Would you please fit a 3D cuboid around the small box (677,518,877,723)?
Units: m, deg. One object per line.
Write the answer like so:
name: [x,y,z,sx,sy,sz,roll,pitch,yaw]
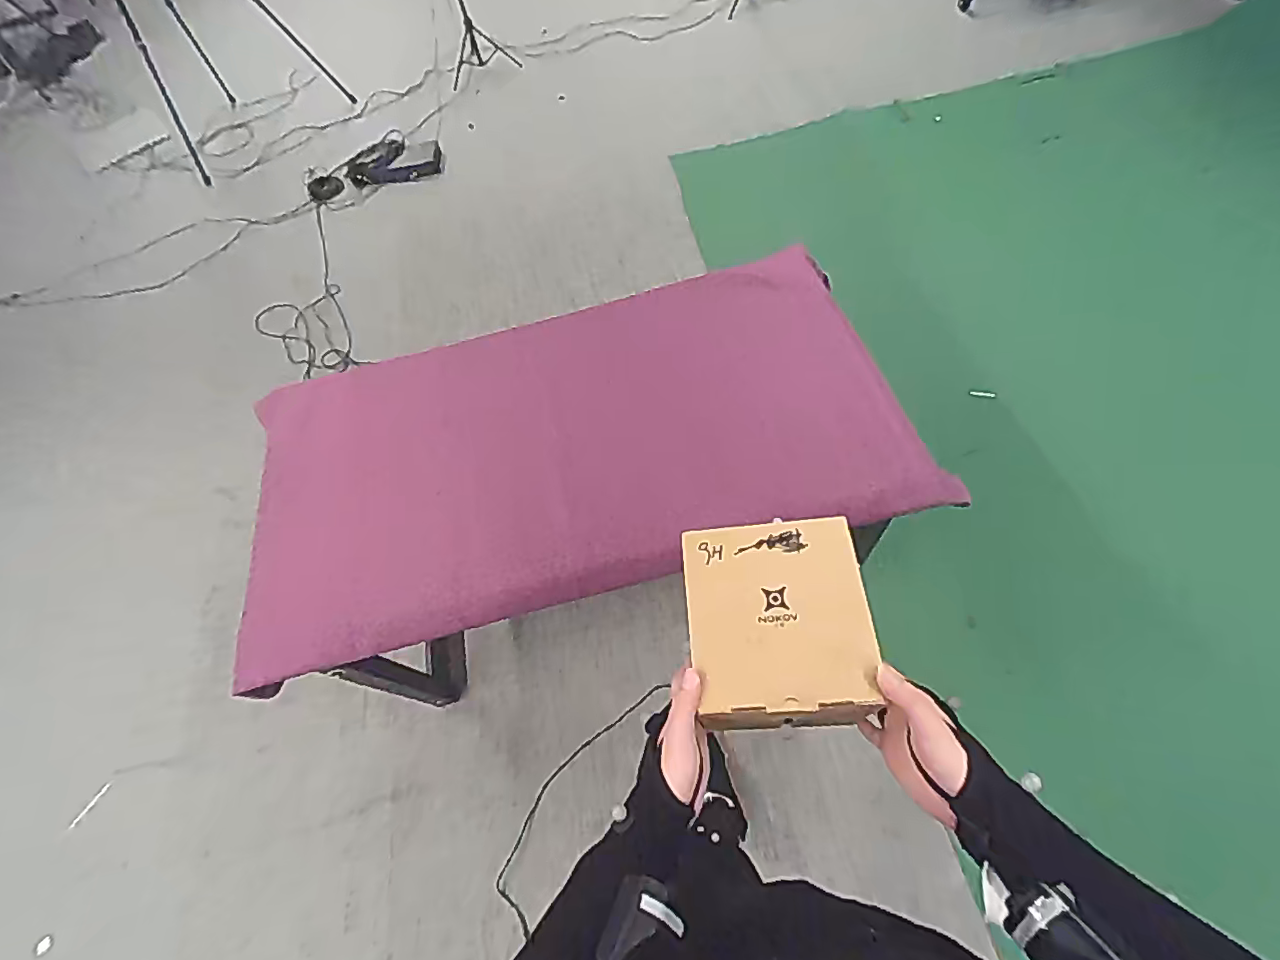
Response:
small box: [0.133,0.158,0.573,0.168,0.176,0.179,-6,61,7]
